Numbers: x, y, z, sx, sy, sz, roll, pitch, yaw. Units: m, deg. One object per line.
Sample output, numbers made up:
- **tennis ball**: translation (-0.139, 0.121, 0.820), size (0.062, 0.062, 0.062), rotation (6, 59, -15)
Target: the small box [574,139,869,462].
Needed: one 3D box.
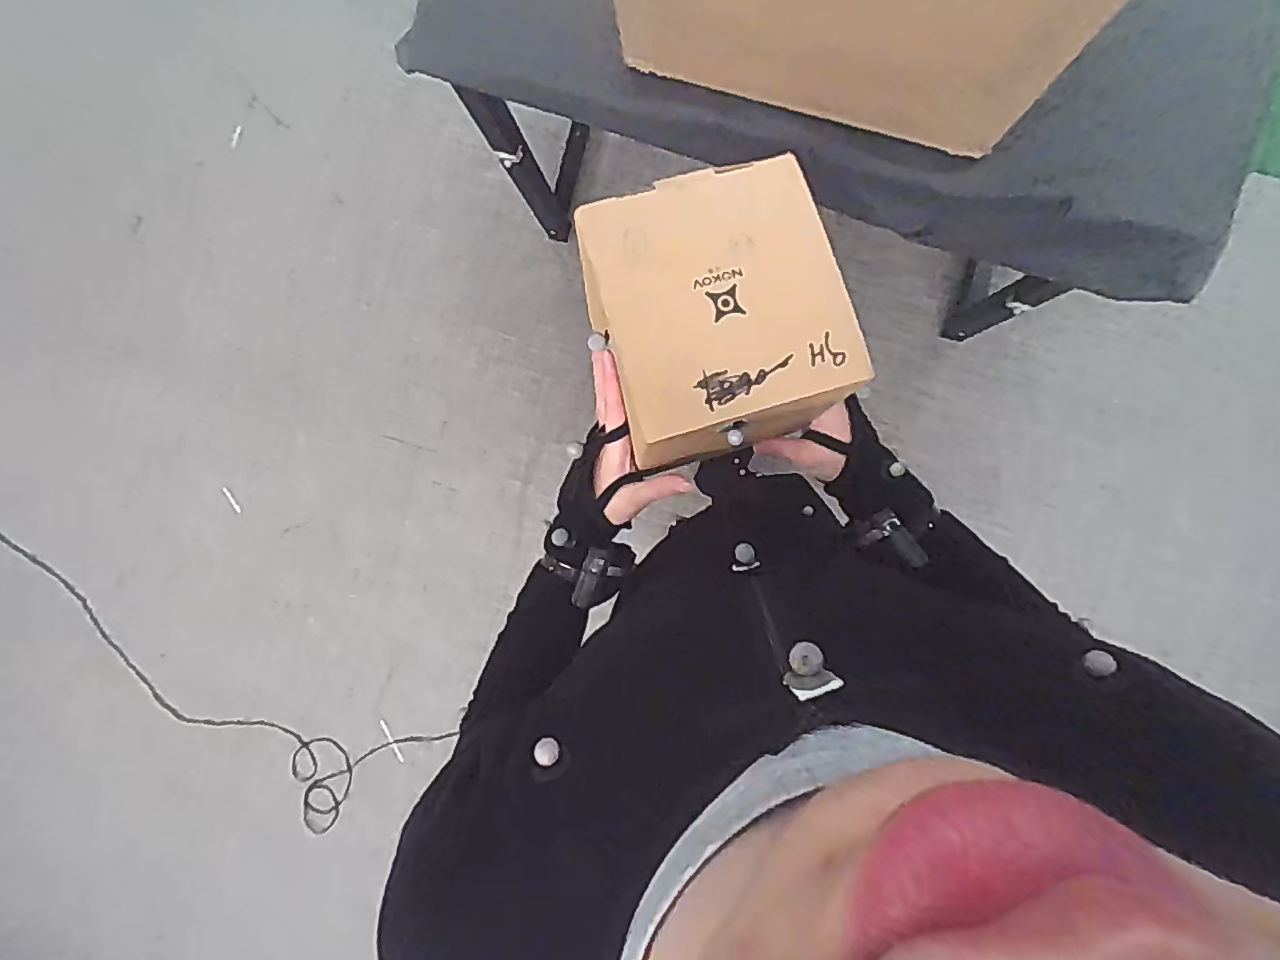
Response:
- **small box**: translation (0.052, -0.129, 0.448), size (0.168, 0.176, 0.179), rotation (-17, 83, -3)
